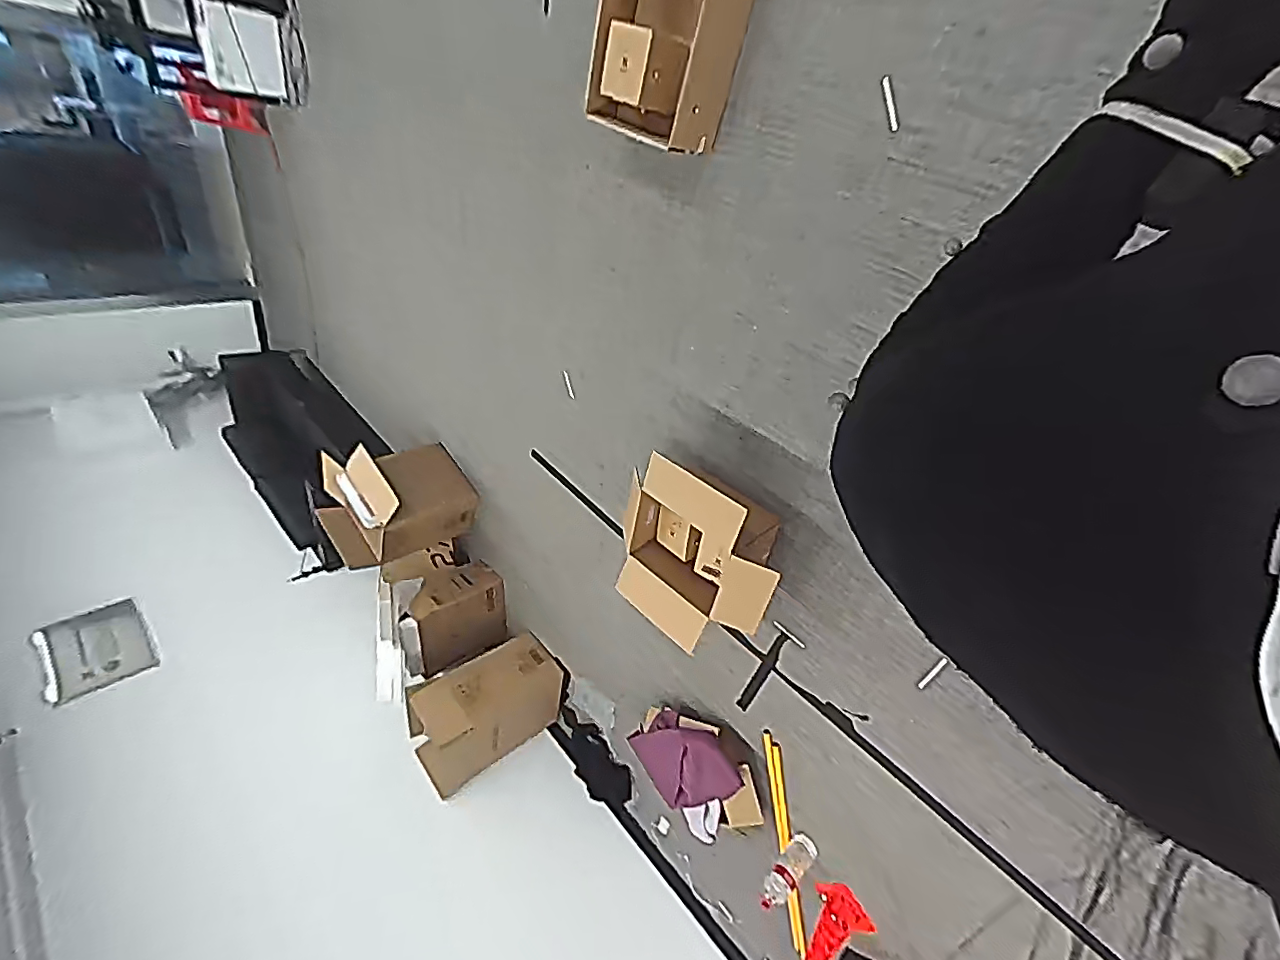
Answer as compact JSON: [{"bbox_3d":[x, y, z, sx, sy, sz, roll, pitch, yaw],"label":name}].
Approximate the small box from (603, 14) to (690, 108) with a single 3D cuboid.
[{"bbox_3d":[0.020,-1.210,1.572,0.168,0.176,0.179,38,130,27],"label":"small box"}]
